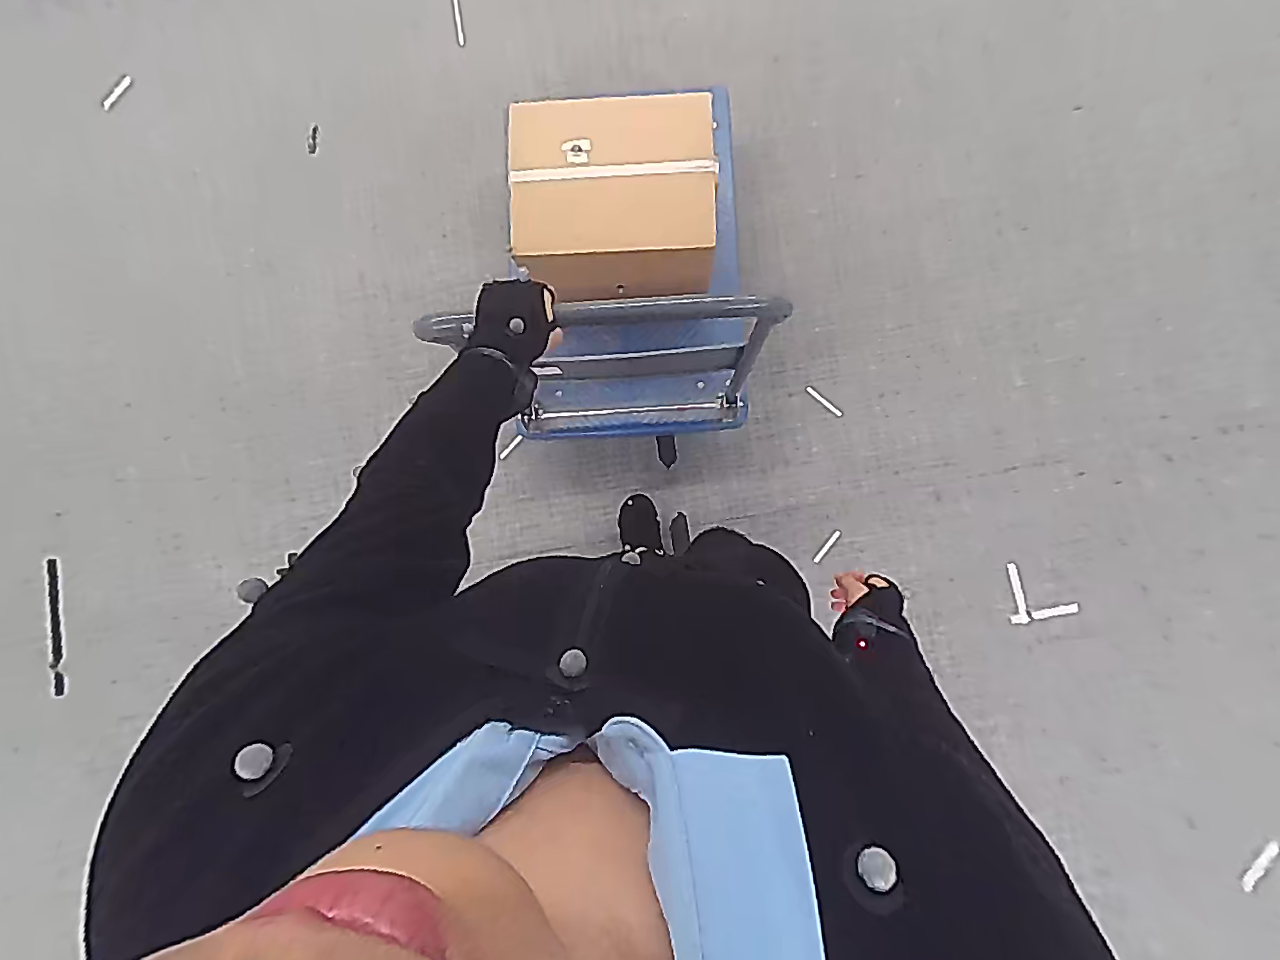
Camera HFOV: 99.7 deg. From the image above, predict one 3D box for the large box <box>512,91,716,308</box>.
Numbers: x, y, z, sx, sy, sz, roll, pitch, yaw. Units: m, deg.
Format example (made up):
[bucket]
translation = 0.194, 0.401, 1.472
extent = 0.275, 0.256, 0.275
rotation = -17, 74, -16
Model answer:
[large box]
translation = -0.044, -0.600, 1.218
extent = 0.408, 0.320, 0.320
rotation = -2, 86, 4
